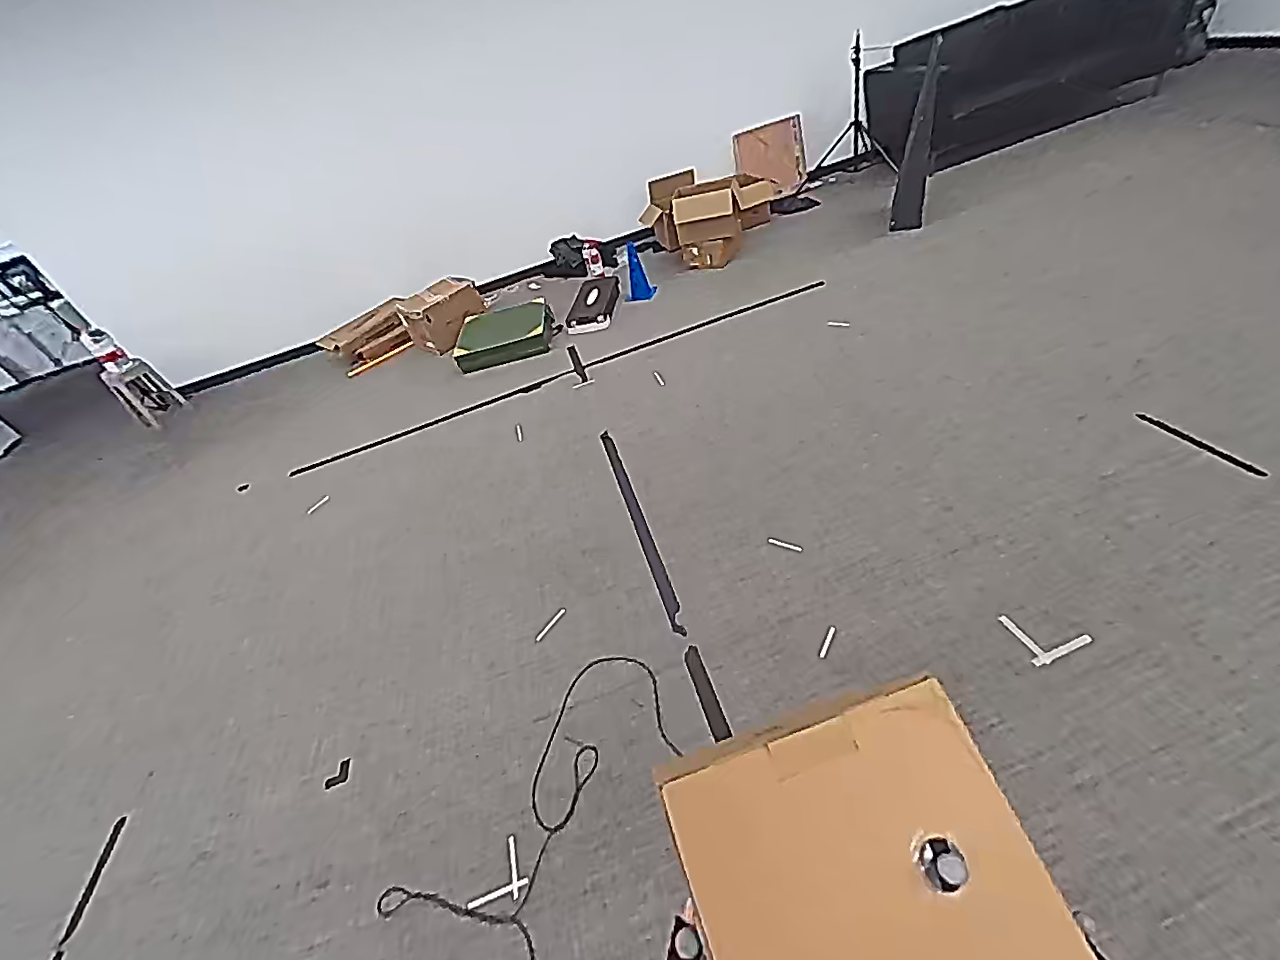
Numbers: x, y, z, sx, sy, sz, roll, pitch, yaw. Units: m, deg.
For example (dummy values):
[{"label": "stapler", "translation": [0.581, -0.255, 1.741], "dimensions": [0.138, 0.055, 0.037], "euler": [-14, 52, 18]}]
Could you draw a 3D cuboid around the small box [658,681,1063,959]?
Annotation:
[{"label": "small box", "translation": [0.117, 0.248, 0.345], "dimensions": [0.168, 0.179, 0.176], "euler": [-18, 65, -7]}]
